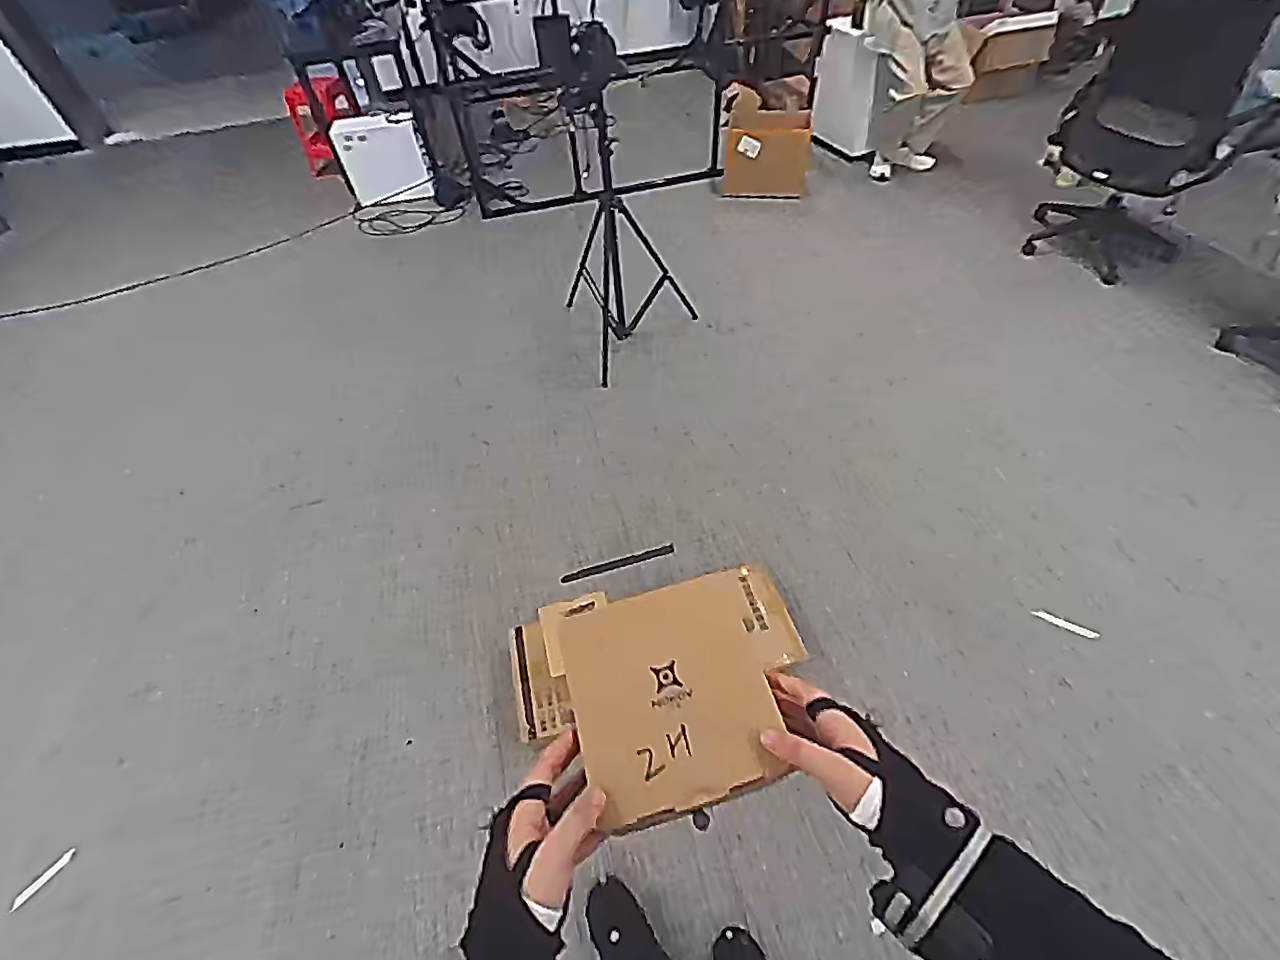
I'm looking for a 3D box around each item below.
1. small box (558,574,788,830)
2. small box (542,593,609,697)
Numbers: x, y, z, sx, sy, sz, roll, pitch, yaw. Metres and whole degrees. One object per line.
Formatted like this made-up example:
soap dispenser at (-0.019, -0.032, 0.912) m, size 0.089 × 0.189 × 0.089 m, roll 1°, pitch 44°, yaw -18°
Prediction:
small box at (0.025, 0.224, 0.537) m, size 0.168 × 0.176 × 0.179 m, roll -15°, pitch 56°, yaw -5°
small box at (-0.136, 0.410, 1.334) m, size 0.168 × 0.176 × 0.179 m, roll -15°, pitch 53°, yaw -8°
